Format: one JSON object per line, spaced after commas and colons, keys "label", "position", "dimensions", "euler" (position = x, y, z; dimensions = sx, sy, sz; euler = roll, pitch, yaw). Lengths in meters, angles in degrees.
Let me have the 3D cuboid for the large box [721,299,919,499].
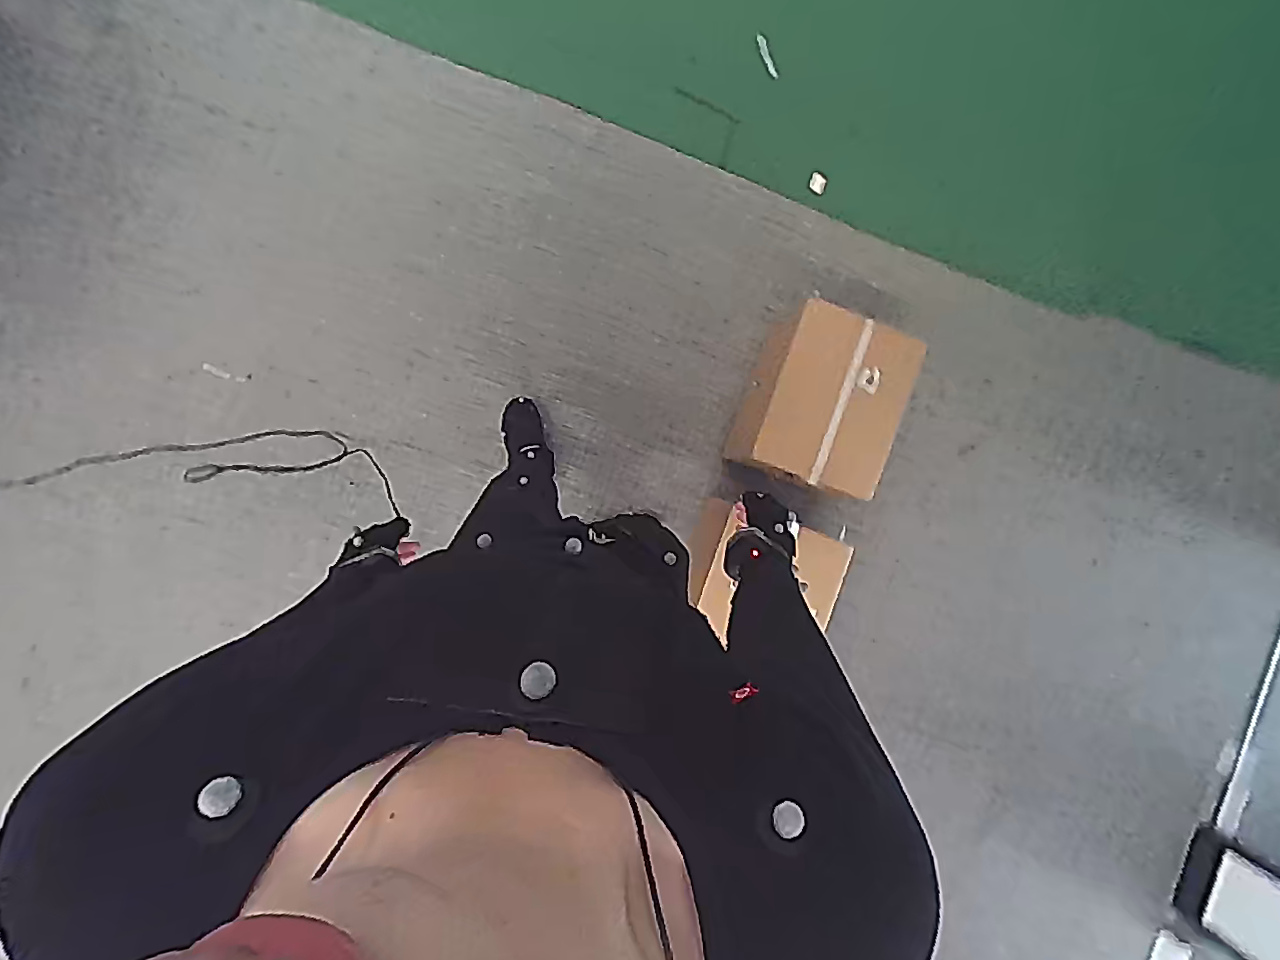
{"label": "large box", "position": [0.444, -0.187, 1.415], "dimensions": [0.320, 0.320, 0.408], "euler": [21, 88, -6]}
